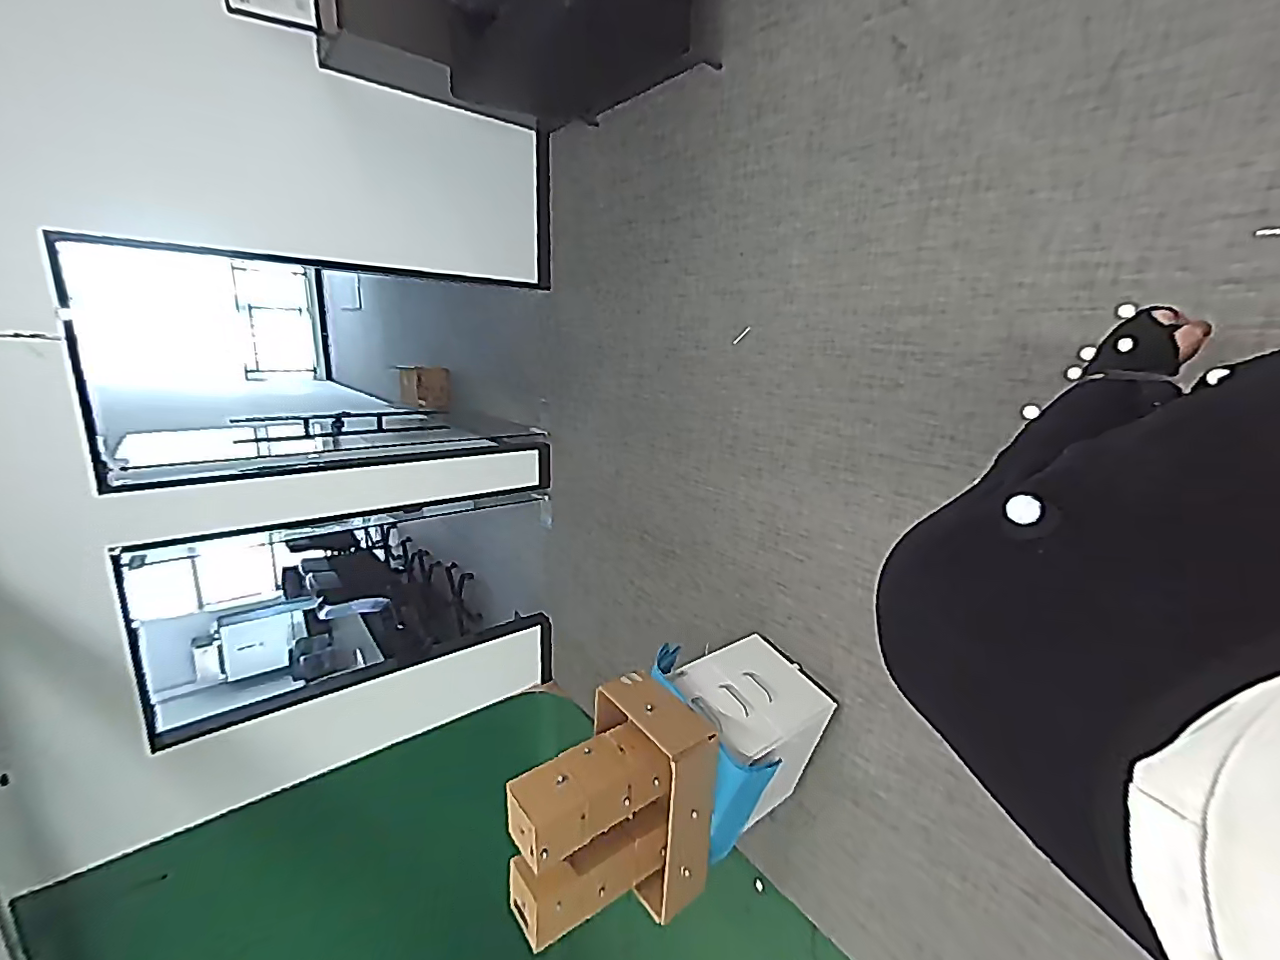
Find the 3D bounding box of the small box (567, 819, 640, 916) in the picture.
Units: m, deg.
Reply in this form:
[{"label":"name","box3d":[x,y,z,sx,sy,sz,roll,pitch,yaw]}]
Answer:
[{"label":"small box","box3d":[-0.112,1.169,1.668,0.168,0.176,0.179,18,110,50]}]

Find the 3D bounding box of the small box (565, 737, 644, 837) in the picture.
[{"label":"small box","box3d":[-0.108,0.900,1.609,0.179,0.176,0.168,19,114,50]}]

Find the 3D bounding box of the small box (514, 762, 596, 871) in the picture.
[{"label":"small box","box3d":[-0.238,0.927,1.513,0.179,0.176,0.168,19,114,51]}]
